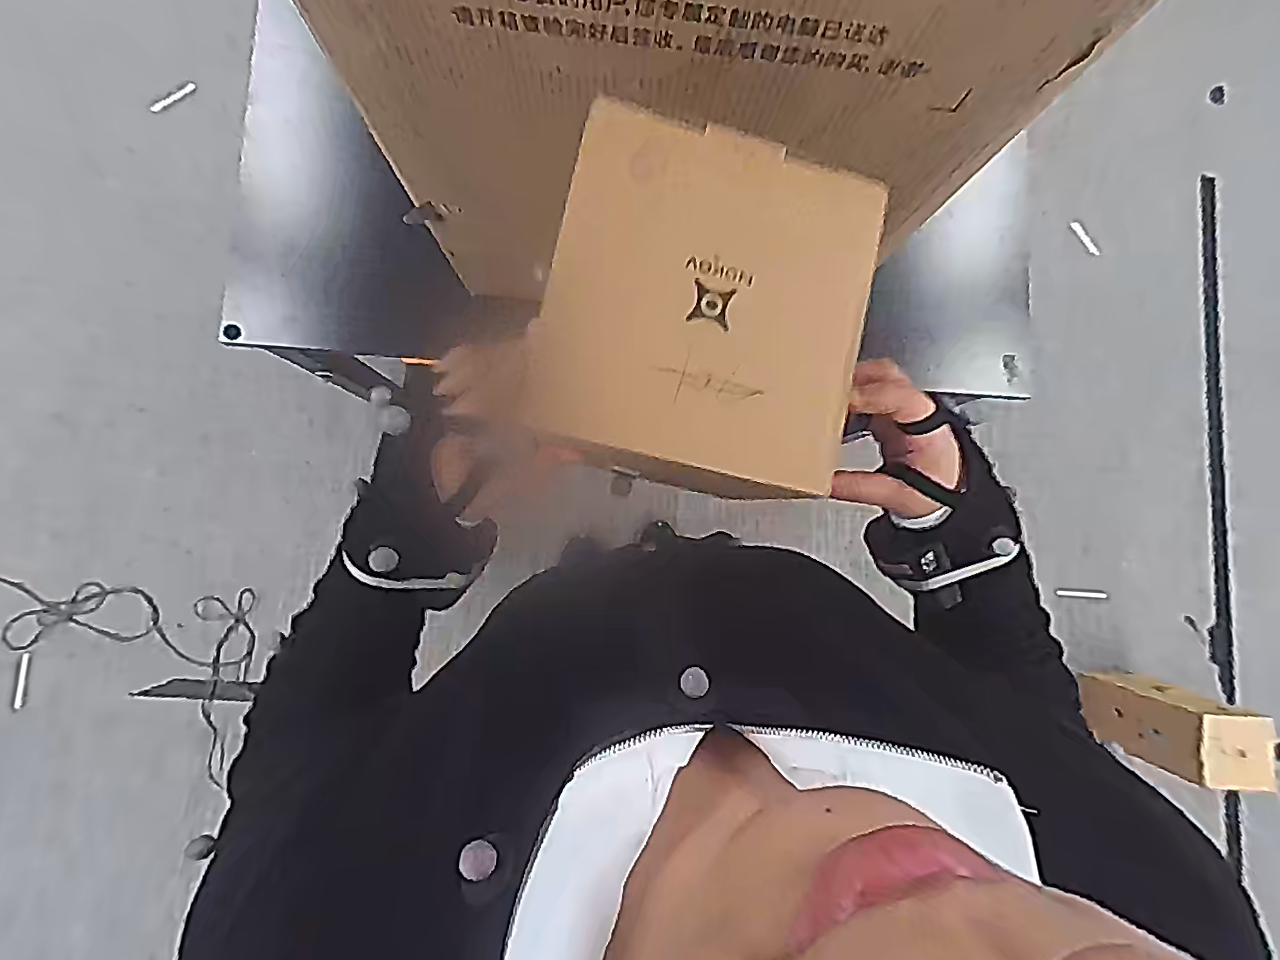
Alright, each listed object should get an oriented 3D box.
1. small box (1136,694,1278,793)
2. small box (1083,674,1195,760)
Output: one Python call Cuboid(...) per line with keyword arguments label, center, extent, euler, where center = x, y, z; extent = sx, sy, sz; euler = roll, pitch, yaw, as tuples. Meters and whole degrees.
Cuboid(label="small box", center=(1.364, 0.629, 1.307), extent=(0.179, 0.176, 0.168), euler=(4, 85, -3))
Cuboid(label="small box", center=(1.353, 0.636, 1.472), extent=(0.168, 0.176, 0.179), euler=(0, 86, -3))
